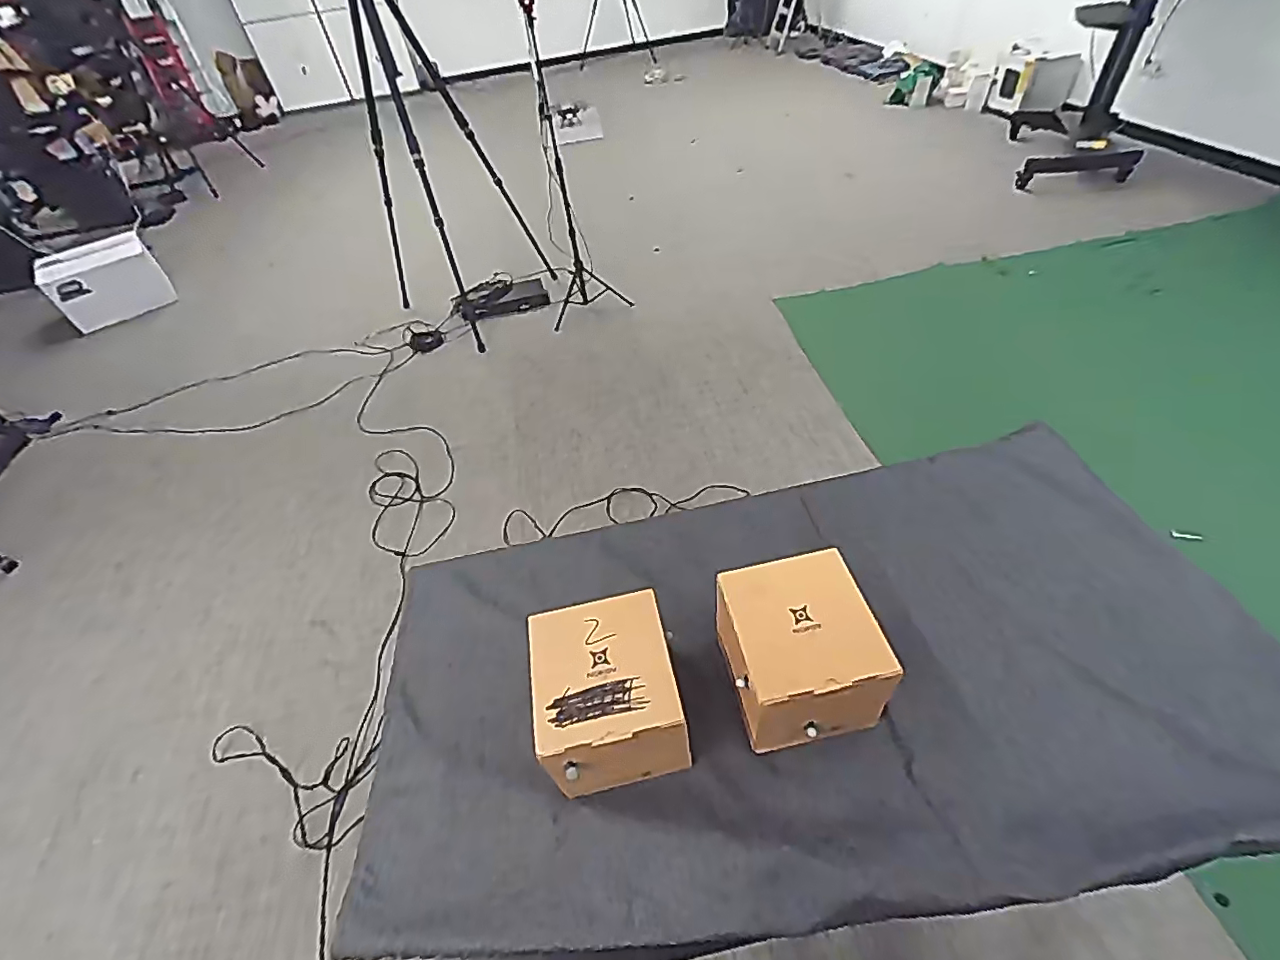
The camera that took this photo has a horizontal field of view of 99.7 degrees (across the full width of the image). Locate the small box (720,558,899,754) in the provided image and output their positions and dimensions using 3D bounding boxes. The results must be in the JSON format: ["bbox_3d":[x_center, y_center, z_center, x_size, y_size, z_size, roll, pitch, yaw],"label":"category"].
[{"bbox_3d":[0.206,0.234,0.720,0.168,0.176,0.179,-12,47,-3],"label":"small box"}]
